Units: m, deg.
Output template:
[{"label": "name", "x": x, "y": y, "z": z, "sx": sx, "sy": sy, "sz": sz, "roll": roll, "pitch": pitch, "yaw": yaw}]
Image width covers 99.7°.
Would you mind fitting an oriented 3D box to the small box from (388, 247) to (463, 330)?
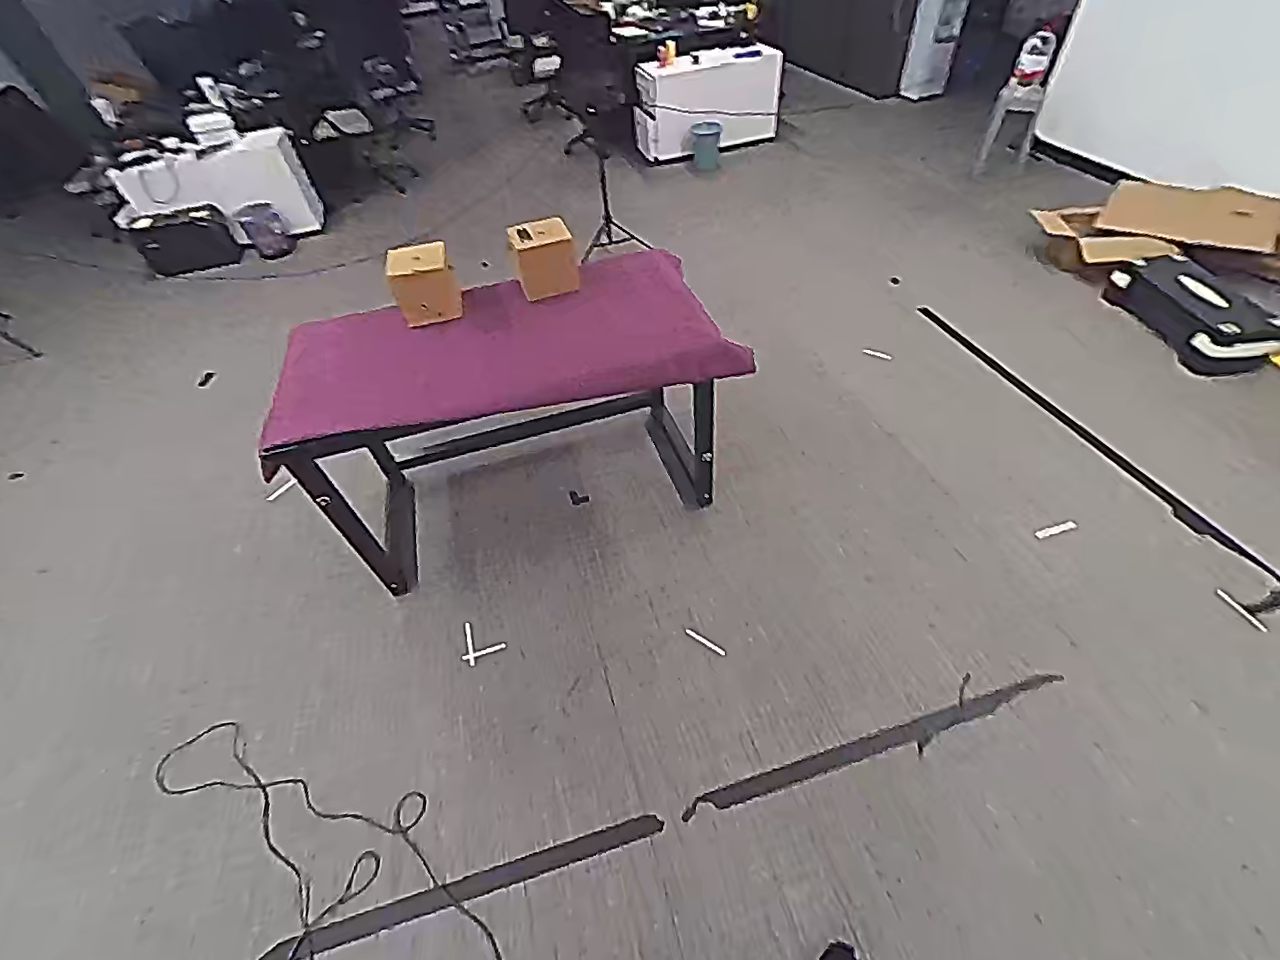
[{"label": "small box", "x": -0.653, "y": -0.587, "z": 1.662, "sx": 0.168, "sy": 0.176, "sz": 0.179, "roll": -13, "pitch": 49, "yaw": -6}]
